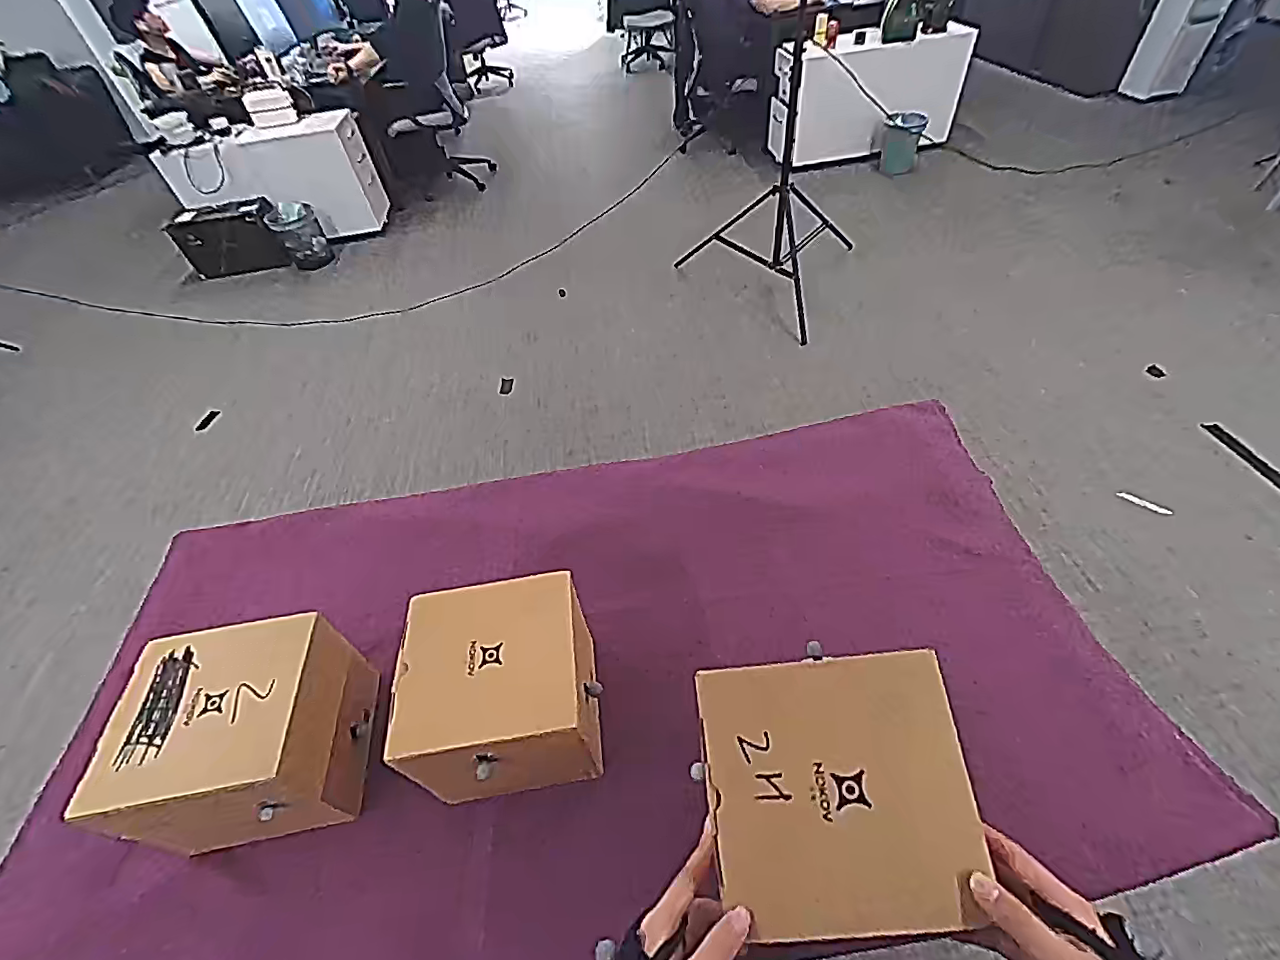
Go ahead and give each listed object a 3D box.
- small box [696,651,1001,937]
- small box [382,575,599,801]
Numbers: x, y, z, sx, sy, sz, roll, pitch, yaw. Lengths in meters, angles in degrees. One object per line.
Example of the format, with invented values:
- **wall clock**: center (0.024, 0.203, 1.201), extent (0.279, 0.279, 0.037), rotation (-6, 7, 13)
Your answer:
- **small box**: center (0.141, 0.233, 0.441), extent (0.179, 0.176, 0.168), rotation (-8, 69, 5)
- **small box**: center (-0.142, 0.226, 0.583), extent (0.179, 0.176, 0.168), rotation (-10, 48, -1)
